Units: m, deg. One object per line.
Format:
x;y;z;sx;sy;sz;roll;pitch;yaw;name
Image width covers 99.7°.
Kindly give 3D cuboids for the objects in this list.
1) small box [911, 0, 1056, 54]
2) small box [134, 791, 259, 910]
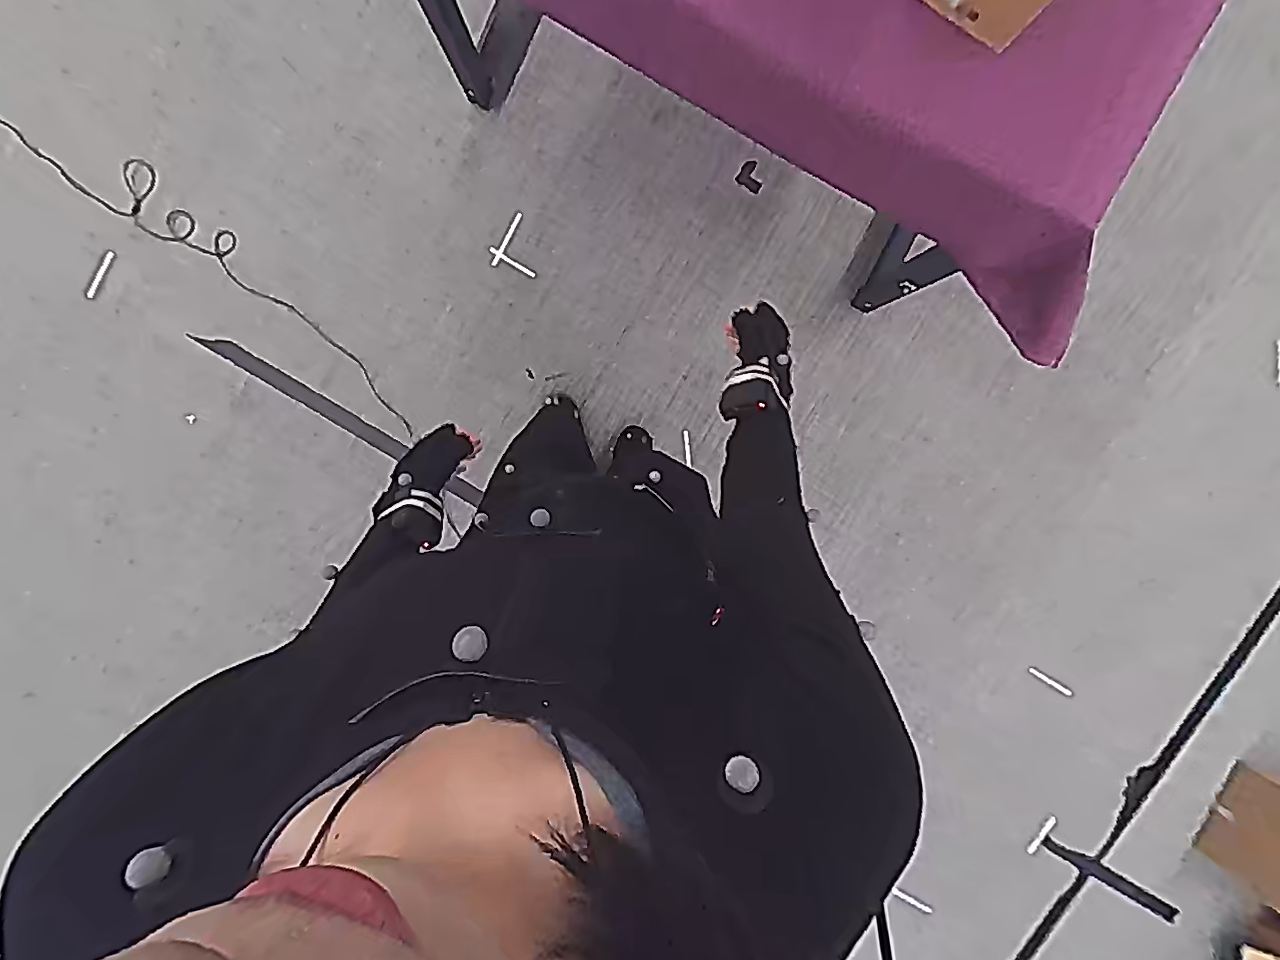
0.456;-0.671;0.635;0.168;0.176;0.179;30;95;-3;small box
-1.229;1.029;1.514;0.179;0.176;0.168;-44;95;4;small box
